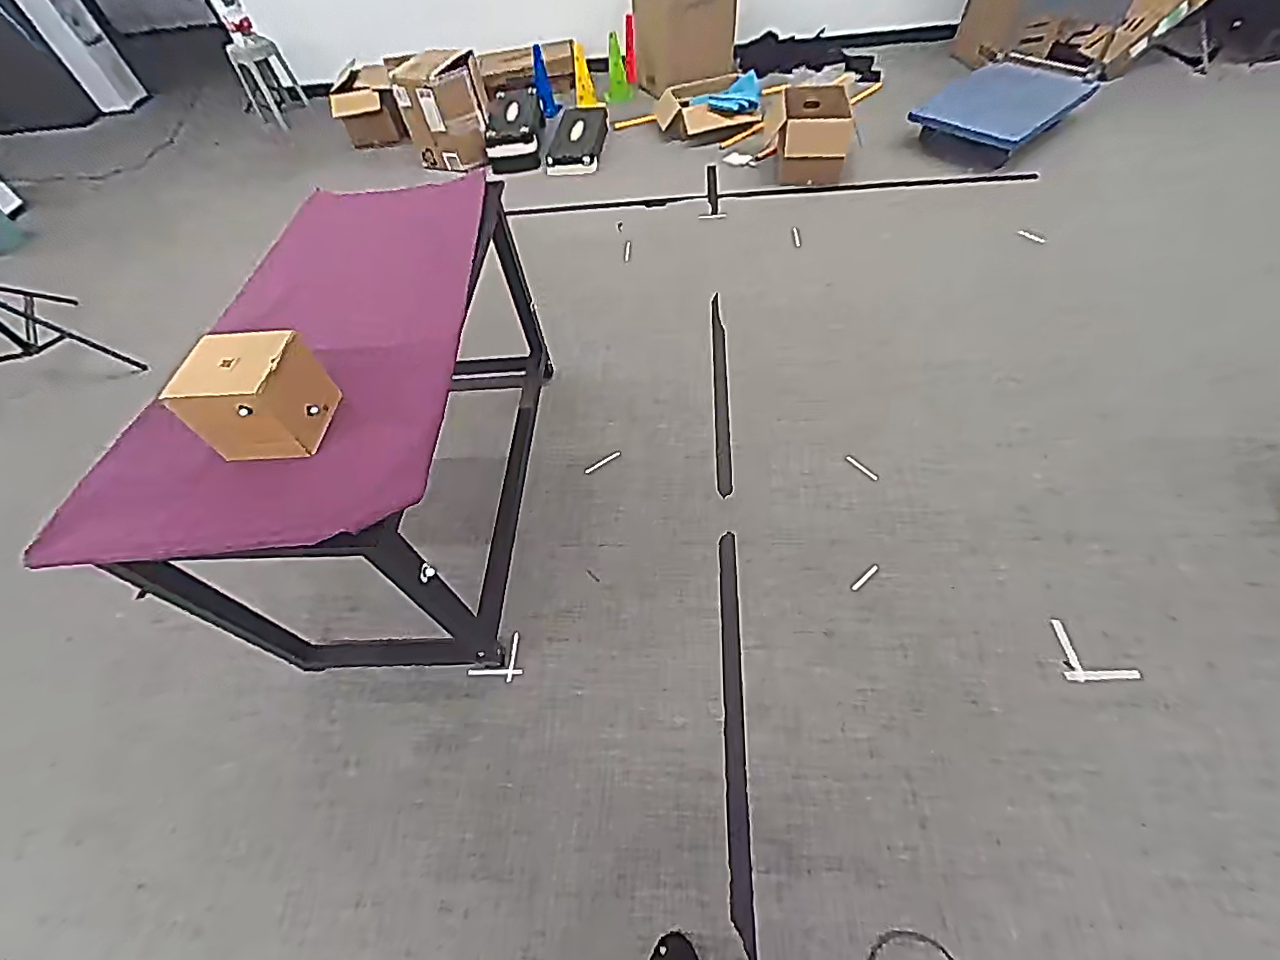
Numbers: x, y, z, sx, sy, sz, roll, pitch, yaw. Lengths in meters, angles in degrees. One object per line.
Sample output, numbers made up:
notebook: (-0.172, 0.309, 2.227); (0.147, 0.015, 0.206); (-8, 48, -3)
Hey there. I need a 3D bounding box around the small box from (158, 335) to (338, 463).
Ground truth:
small box: (-0.705, -0.144, 0.998); (0.179, 0.176, 0.168); (-3, 53, 3)
